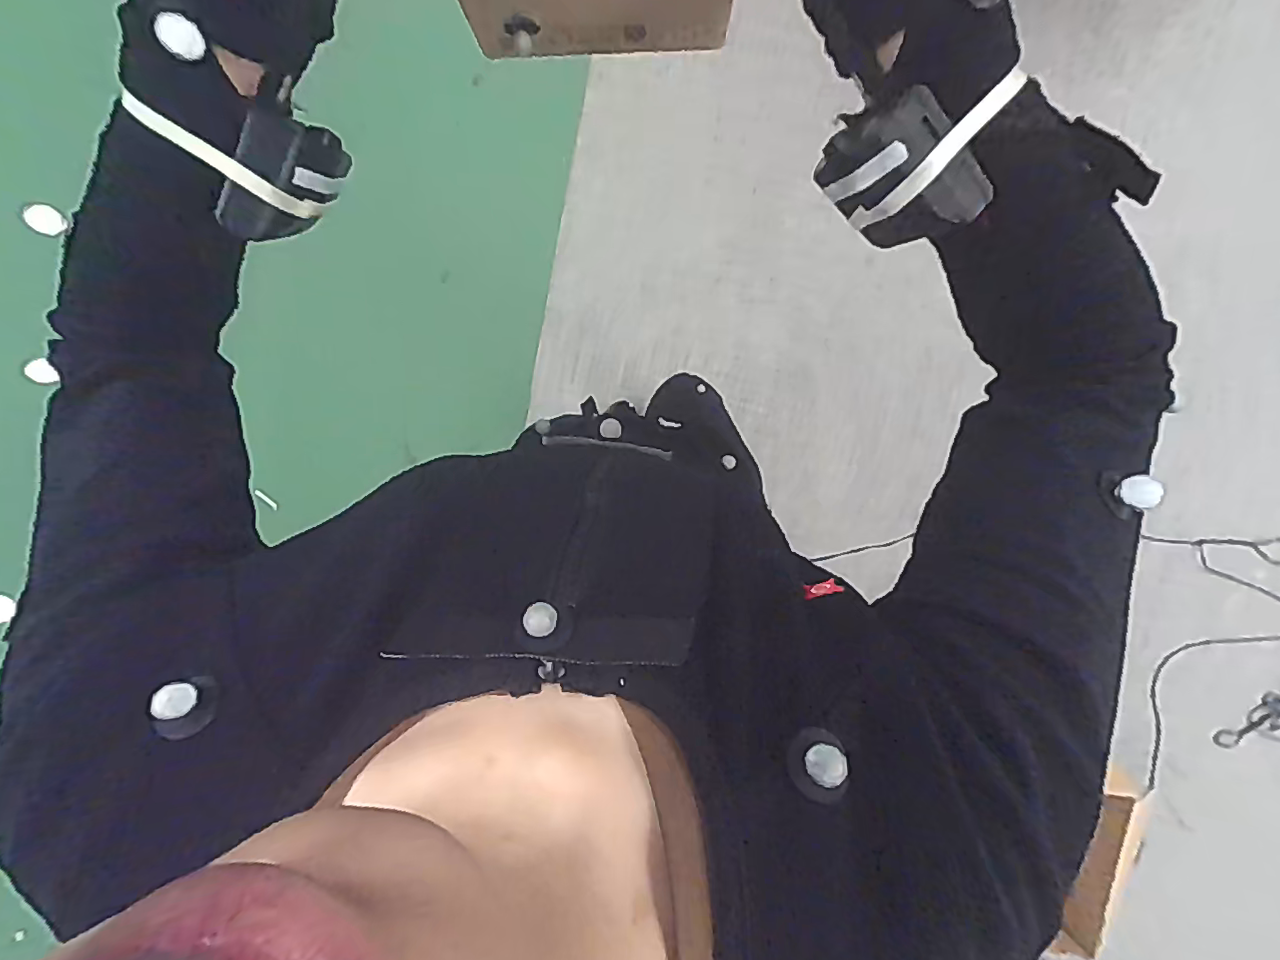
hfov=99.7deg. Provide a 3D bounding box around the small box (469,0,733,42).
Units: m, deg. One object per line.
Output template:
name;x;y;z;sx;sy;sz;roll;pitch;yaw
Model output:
small box;-0.026;-0.360;0.269;0.168;0.176;0.179;-1;96;1
